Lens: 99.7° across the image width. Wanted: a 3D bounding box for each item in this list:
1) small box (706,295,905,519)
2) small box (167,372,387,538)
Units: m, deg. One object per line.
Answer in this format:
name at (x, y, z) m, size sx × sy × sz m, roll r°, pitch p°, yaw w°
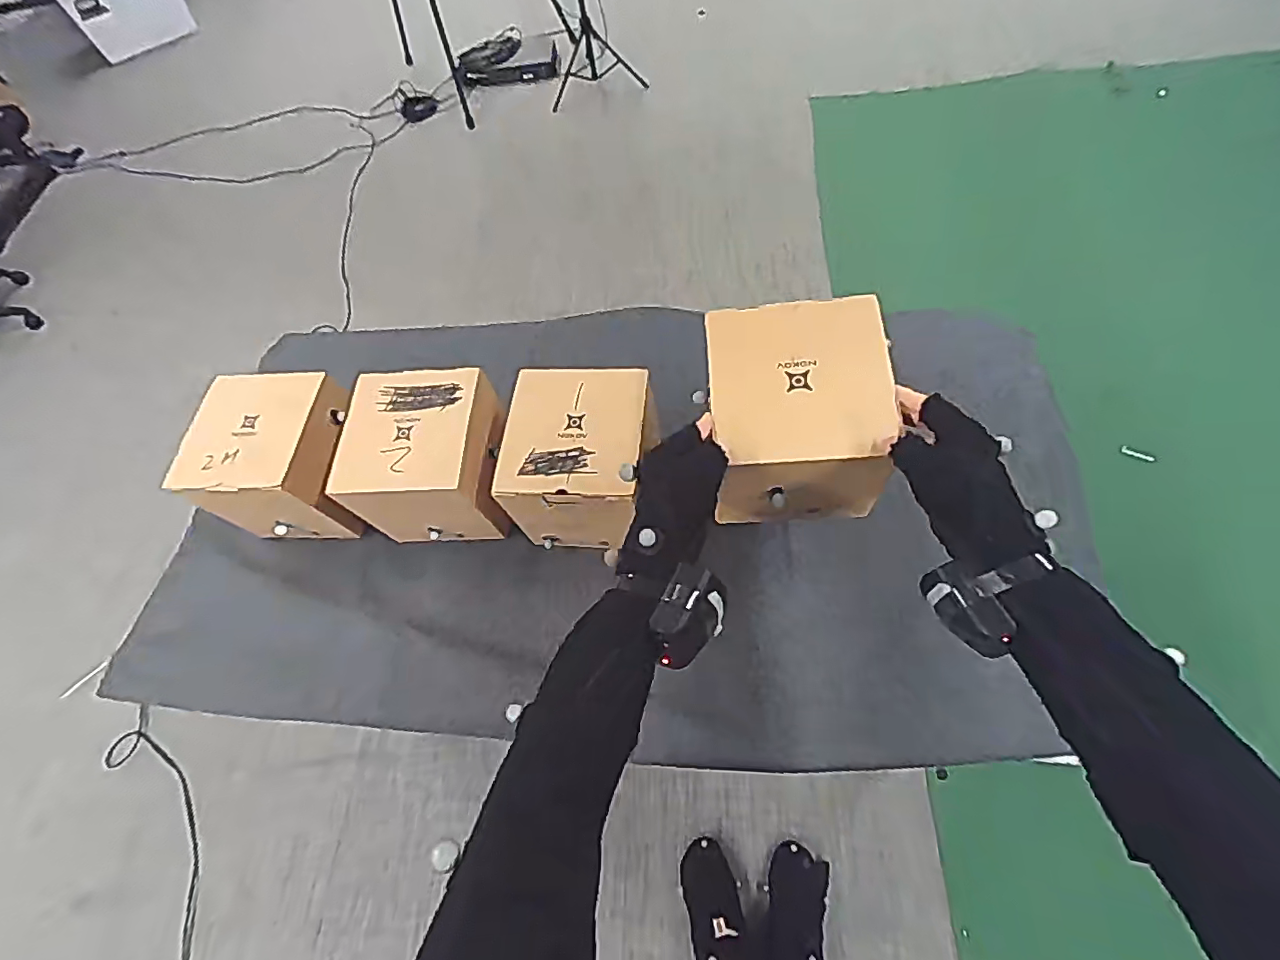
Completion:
small box at (0.159, -0.063, 0.572) m, size 0.168 × 0.176 × 0.179 m, roll -4°, pitch 66°, yaw 9°
small box at (-0.486, -0.031, 0.760) m, size 0.168 × 0.176 × 0.179 m, roll -1°, pitch 64°, yaw 8°
